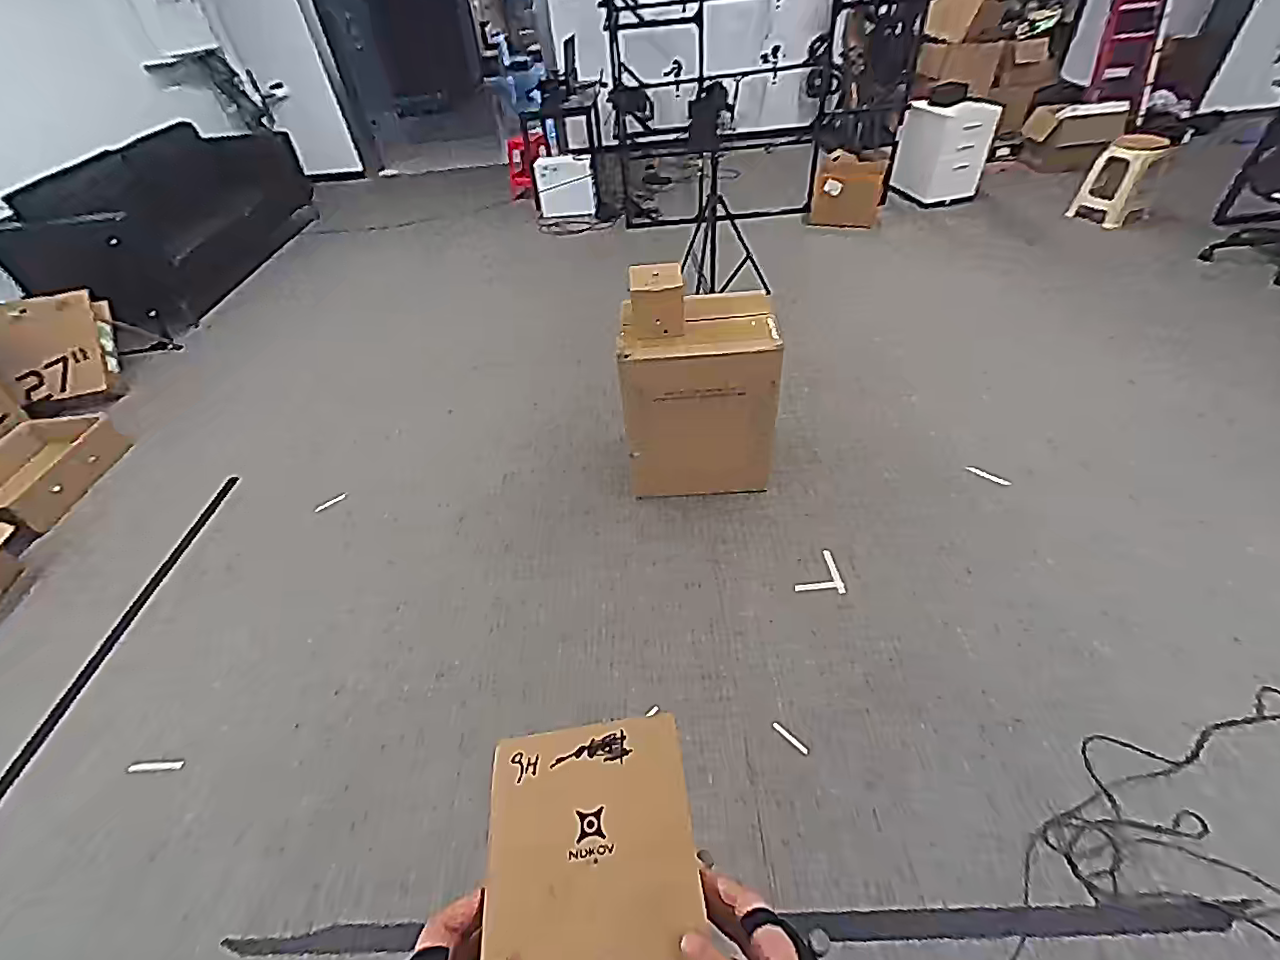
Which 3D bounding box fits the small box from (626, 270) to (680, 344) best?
[{"bbox_3d":[0.041,-0.564,1.767,0.168,0.176,0.179,-5,45,1],"label":"small box"}]
